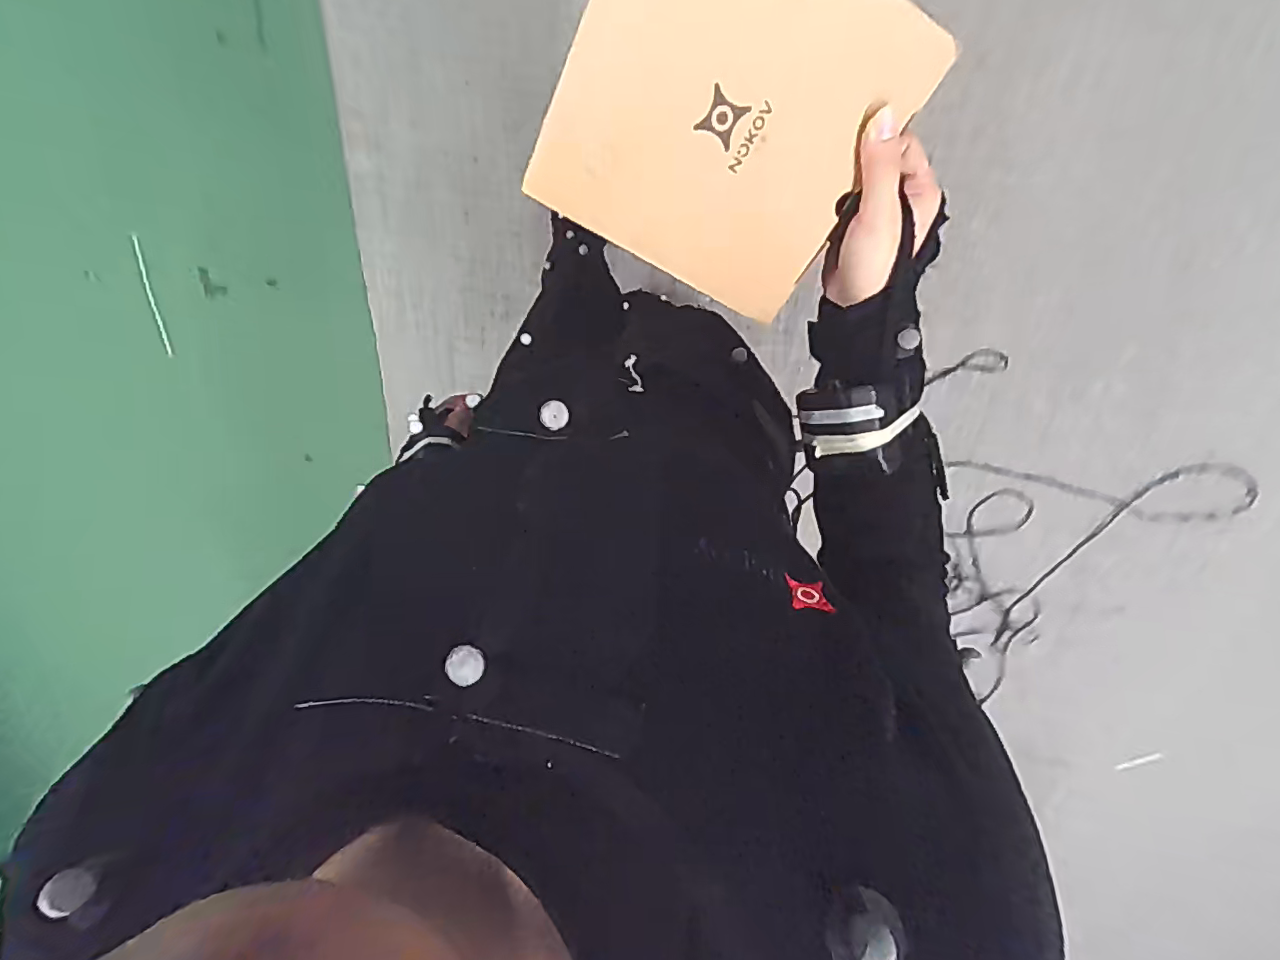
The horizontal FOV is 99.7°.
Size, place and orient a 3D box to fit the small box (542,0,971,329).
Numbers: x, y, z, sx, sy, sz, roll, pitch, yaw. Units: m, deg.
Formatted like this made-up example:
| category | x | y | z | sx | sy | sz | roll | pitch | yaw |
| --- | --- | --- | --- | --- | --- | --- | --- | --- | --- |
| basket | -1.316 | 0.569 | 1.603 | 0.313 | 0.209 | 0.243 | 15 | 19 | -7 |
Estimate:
| category | x | y | z | sx | sy | sz | roll | pitch | yaw |
| --- | --- | --- | --- | --- | --- | --- | --- | --- | --- |
| small box | 0.055 | -0.235 | 0.355 | 0.179 | 0.176 | 0.168 | 23 | 123 | -19 |
